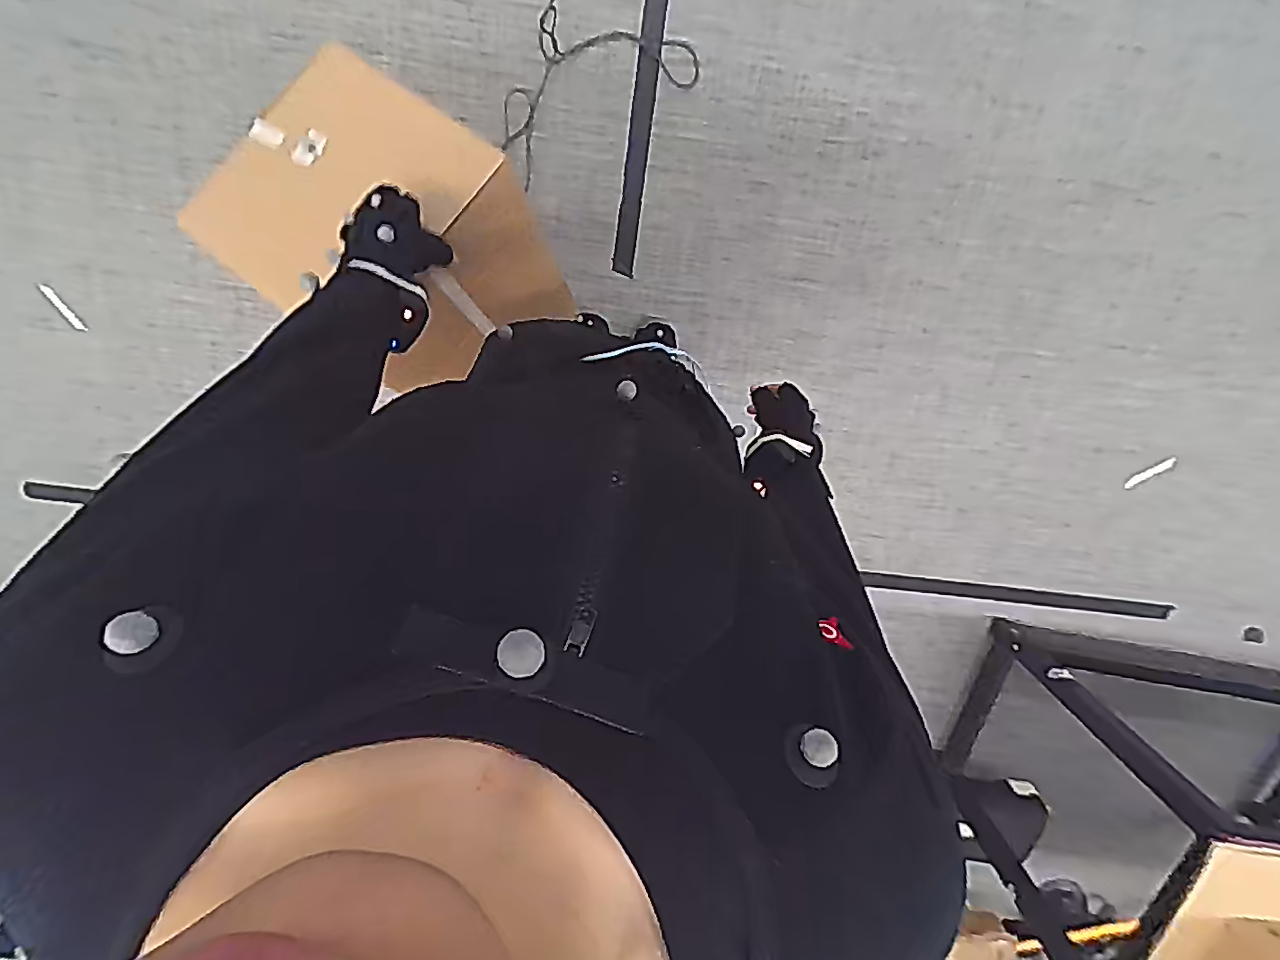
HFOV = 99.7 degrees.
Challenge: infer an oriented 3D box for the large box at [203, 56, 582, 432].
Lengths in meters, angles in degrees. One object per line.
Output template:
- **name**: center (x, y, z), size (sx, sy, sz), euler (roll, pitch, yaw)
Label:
- **large box**: center (-0.338, -0.325, 0.864), size (0.320, 0.408, 0.320), euler (40, 86, 9)
